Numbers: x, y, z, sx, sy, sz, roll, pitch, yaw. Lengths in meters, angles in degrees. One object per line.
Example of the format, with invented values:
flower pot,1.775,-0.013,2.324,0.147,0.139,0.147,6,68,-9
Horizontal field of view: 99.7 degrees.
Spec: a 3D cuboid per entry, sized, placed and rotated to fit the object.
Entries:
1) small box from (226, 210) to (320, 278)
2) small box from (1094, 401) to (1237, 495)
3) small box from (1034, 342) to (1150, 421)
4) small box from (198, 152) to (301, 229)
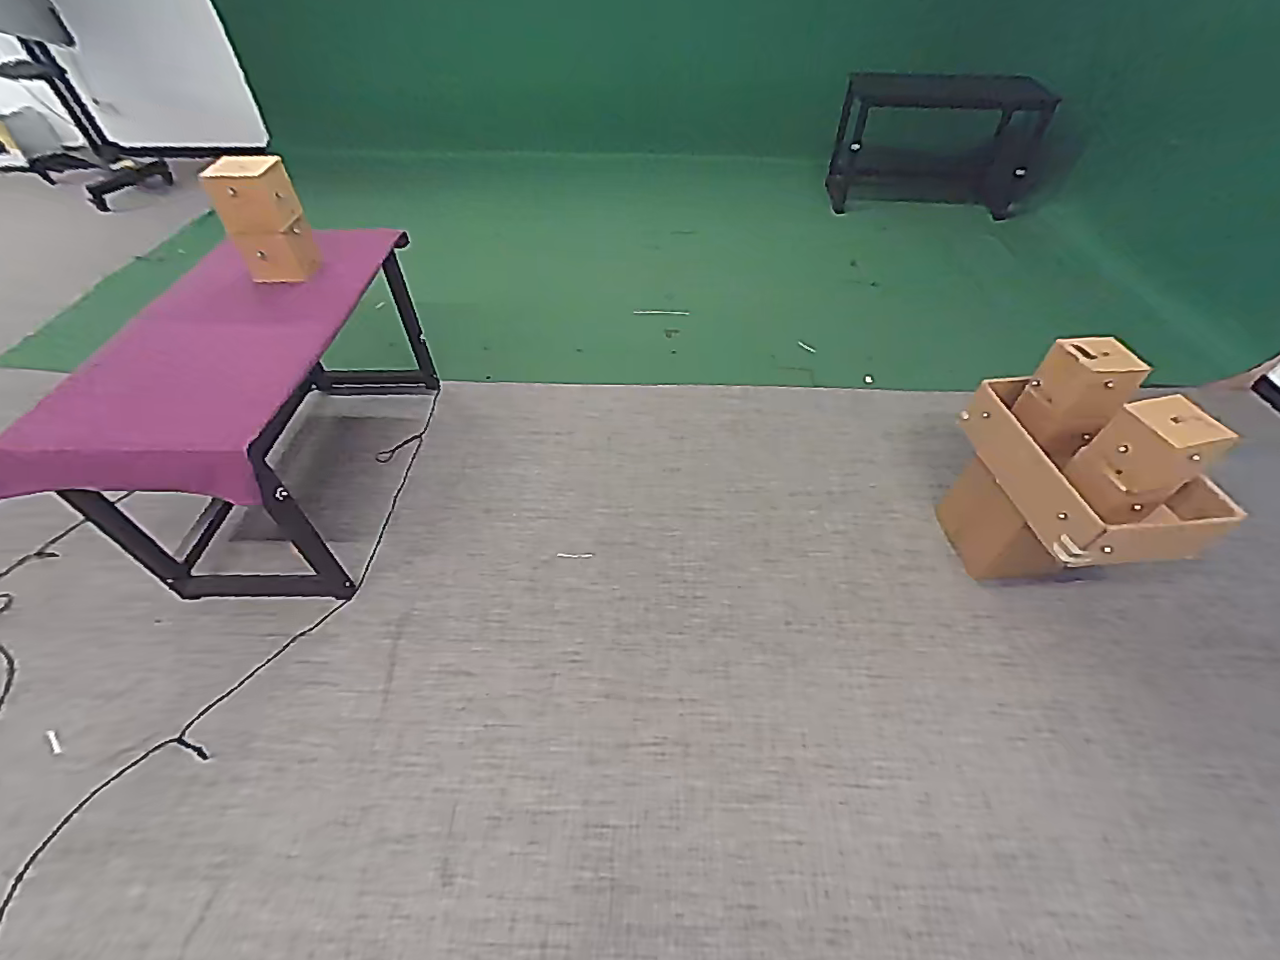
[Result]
small box,-1.213,-0.787,1.803,0.179,0.176,0.168,-2,49,-2
small box,1.326,-0.078,1.389,0.179,0.176,0.168,-9,49,-8
small box,1.301,-0.284,1.579,0.179,0.176,0.168,-1,47,-3
small box,-1.200,-0.898,1.683,0.179,0.176,0.168,-1,48,-2
